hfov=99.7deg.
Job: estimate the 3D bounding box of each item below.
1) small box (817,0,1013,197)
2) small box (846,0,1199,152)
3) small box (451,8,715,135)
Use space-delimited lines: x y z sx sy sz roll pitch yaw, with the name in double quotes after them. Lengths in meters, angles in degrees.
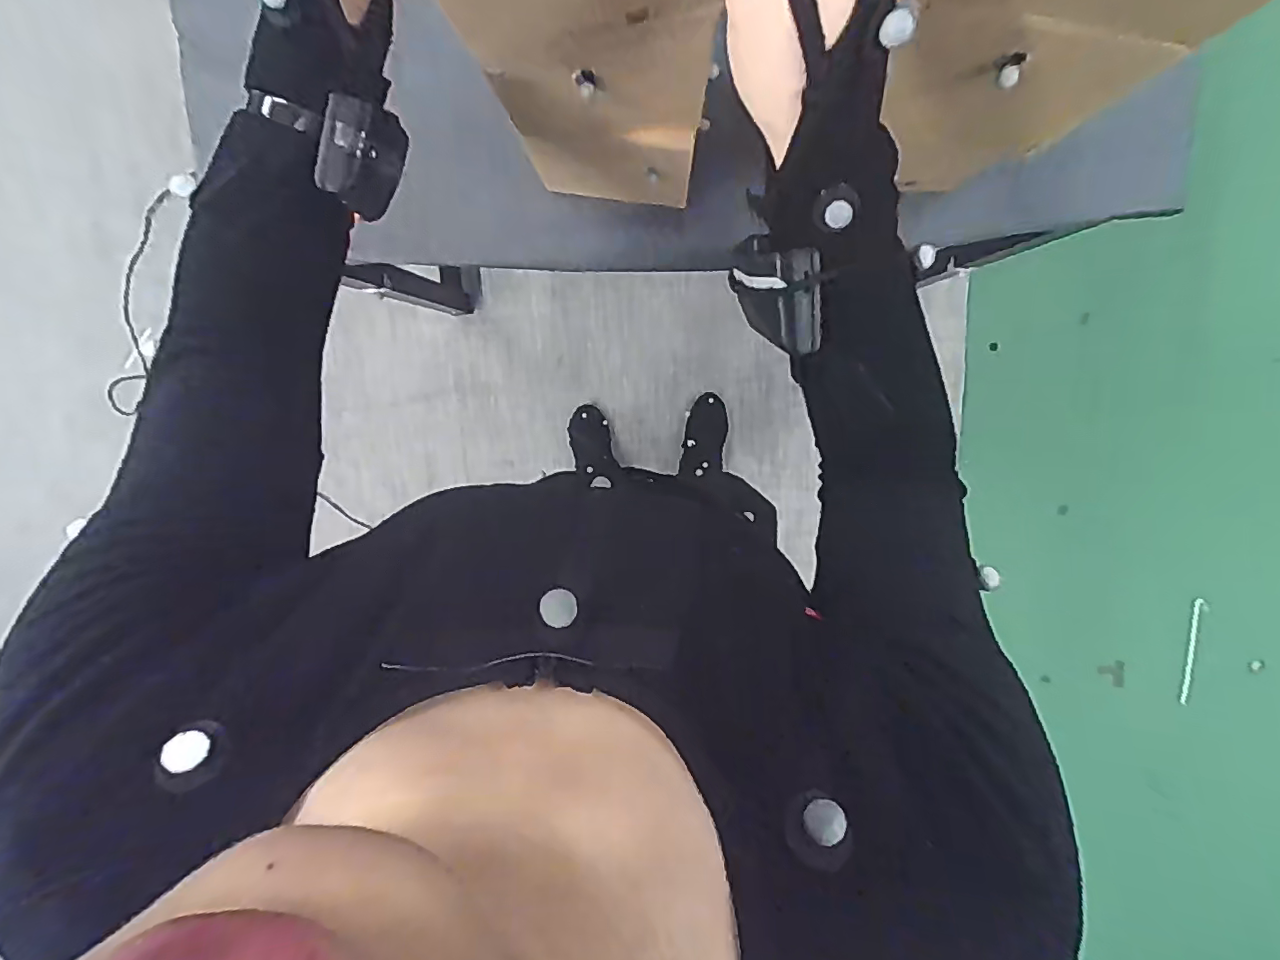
0.291 -0.419 0.565 0.168 0.176 0.179 -1 101 4 "small box"
0.282 -0.376 0.408 0.179 0.176 0.168 10 100 2 "small box"
-0.037 -0.394 0.418 0.179 0.176 0.168 -1 100 3 "small box"
